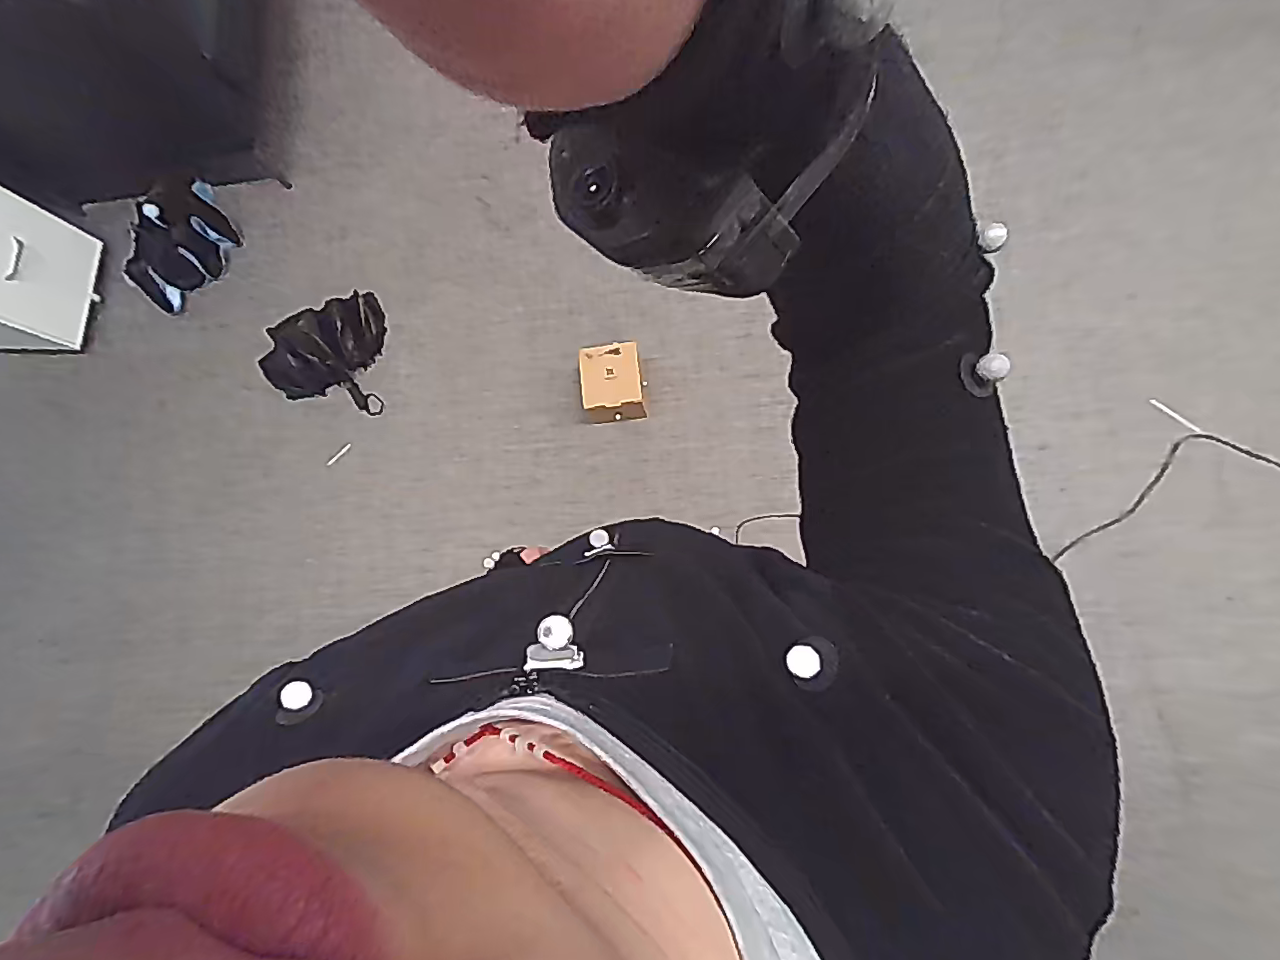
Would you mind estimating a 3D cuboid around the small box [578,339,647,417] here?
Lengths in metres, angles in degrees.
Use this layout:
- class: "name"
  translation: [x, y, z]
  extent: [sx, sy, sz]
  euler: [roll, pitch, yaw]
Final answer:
- class: "small box"
  translation: [-0.075, -0.286, 1.566]
  extent: [0.168, 0.176, 0.179]
  euler: [-7, 83, 6]
